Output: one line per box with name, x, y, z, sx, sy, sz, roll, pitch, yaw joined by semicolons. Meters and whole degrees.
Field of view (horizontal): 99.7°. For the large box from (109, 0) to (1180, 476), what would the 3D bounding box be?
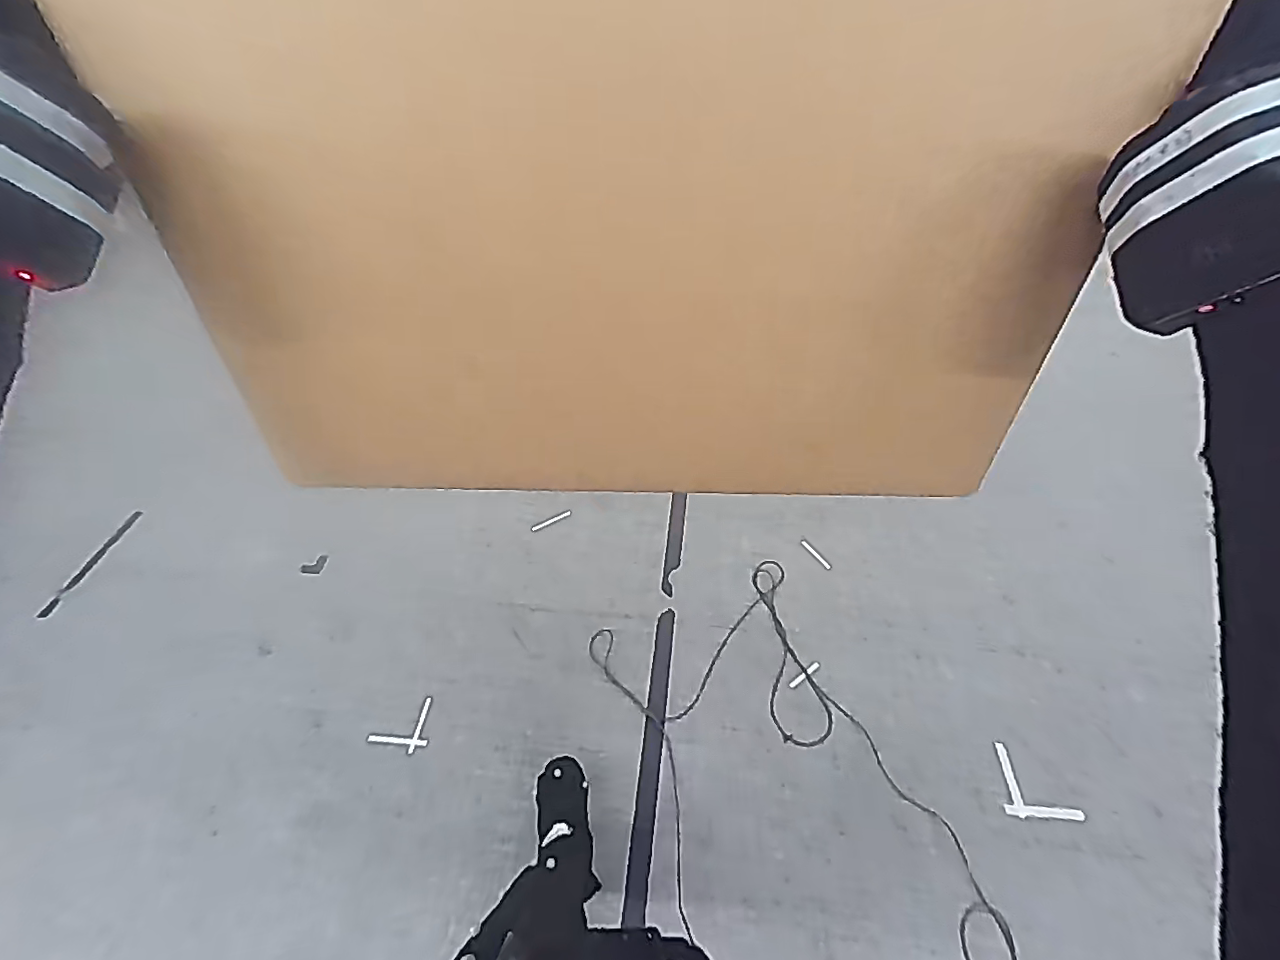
large box;-0.001;-0.212;0.355;0.408;0.320;0.320;1;39;-1
